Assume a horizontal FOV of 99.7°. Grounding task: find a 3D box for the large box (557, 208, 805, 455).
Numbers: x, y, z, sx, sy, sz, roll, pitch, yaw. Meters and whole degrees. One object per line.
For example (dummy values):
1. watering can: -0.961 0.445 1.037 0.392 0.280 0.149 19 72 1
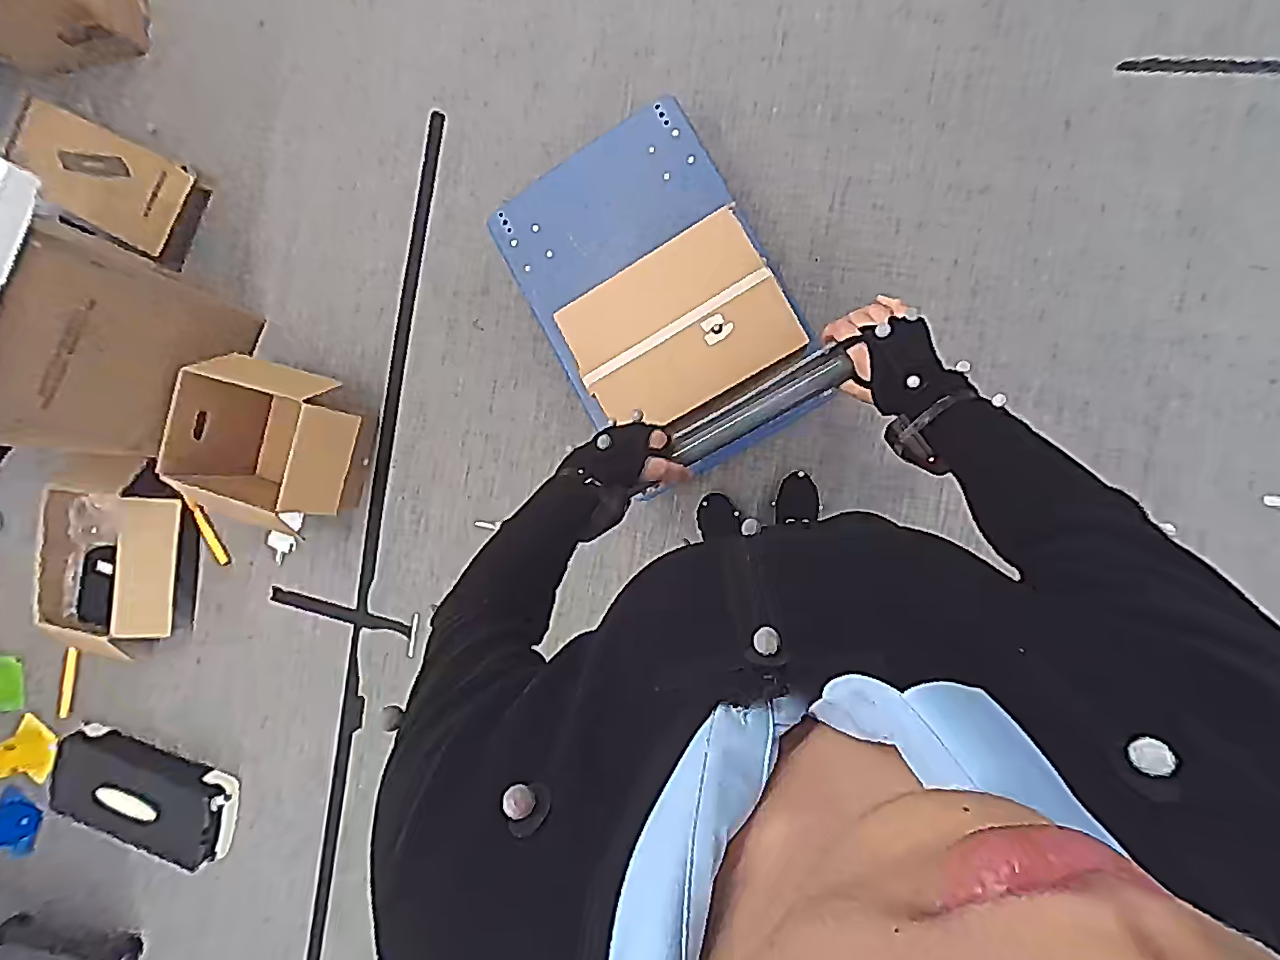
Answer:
1. large box: 0.096 -0.291 1.196 0.408 0.320 0.320 -29 85 8
